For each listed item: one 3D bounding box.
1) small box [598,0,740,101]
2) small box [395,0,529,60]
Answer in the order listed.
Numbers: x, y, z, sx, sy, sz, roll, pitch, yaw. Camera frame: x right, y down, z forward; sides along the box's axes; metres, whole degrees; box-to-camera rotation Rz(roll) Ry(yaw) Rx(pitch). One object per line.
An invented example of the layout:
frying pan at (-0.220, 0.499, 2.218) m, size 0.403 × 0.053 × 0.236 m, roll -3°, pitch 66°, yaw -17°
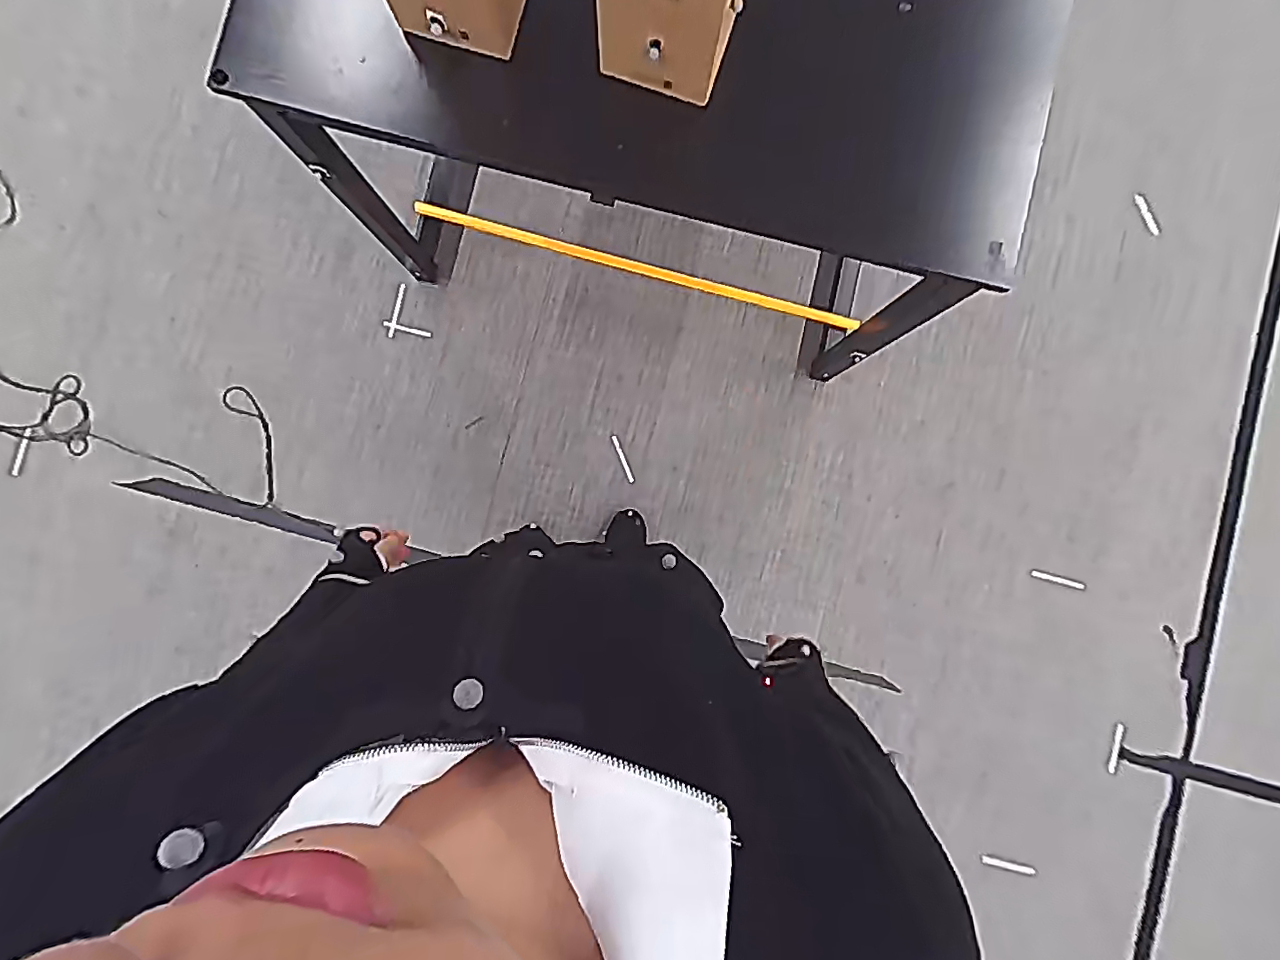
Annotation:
small box at (0.048, -0.659, 0.721) m, size 0.168 × 0.176 × 0.179 m, roll 18°, pitch 88°, yaw -1°
small box at (-0.244, -0.720, 0.716) m, size 0.168 × 0.176 × 0.179 m, roll 14°, pitch 88°, yaw 0°
